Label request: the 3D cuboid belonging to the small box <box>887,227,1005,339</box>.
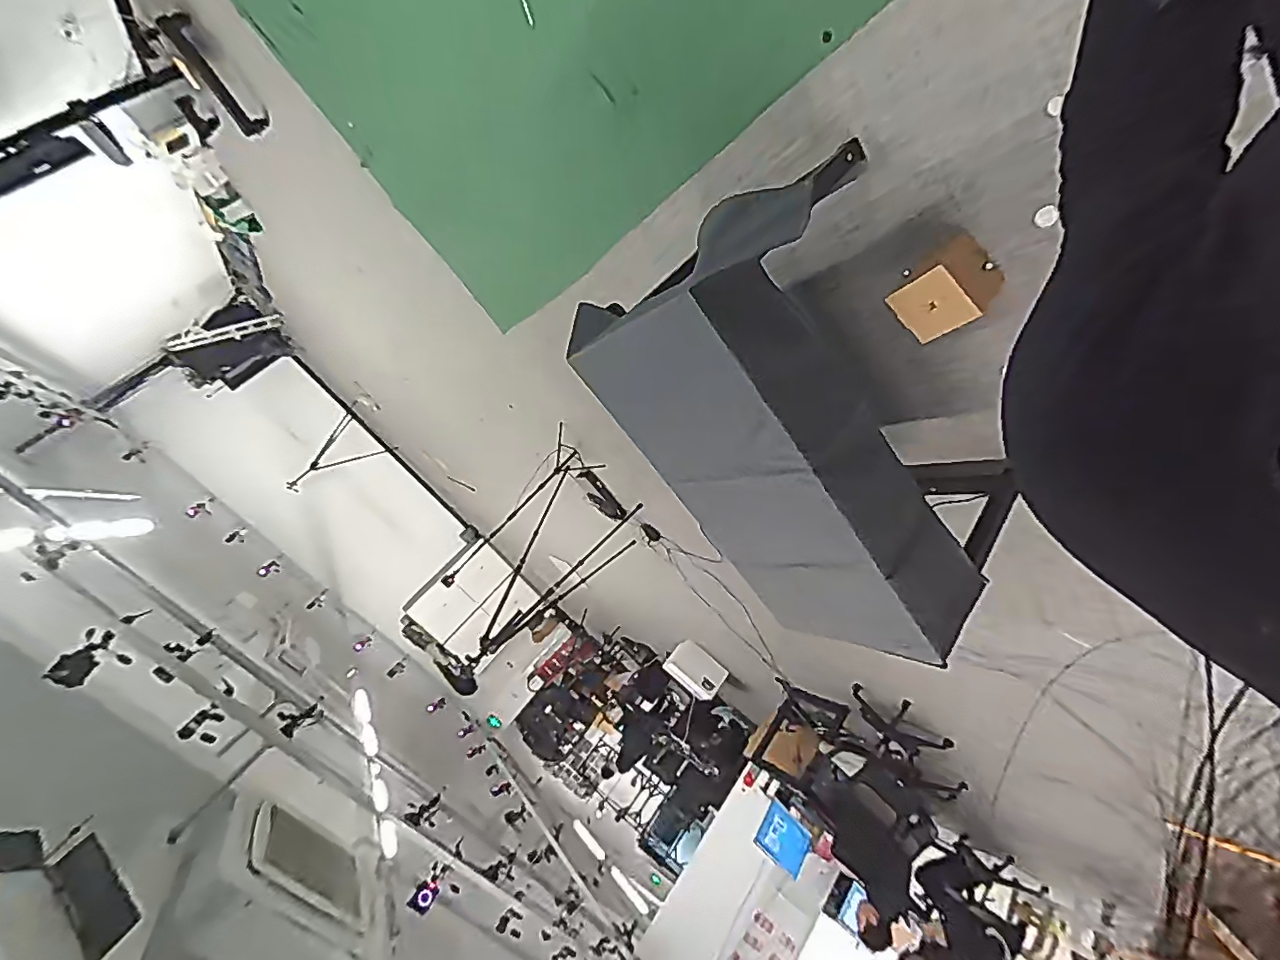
[{"bbox_3d":[0.790,-0.506,1.397,0.168,0.176,0.179,44,158,-9],"label":"small box"}]
